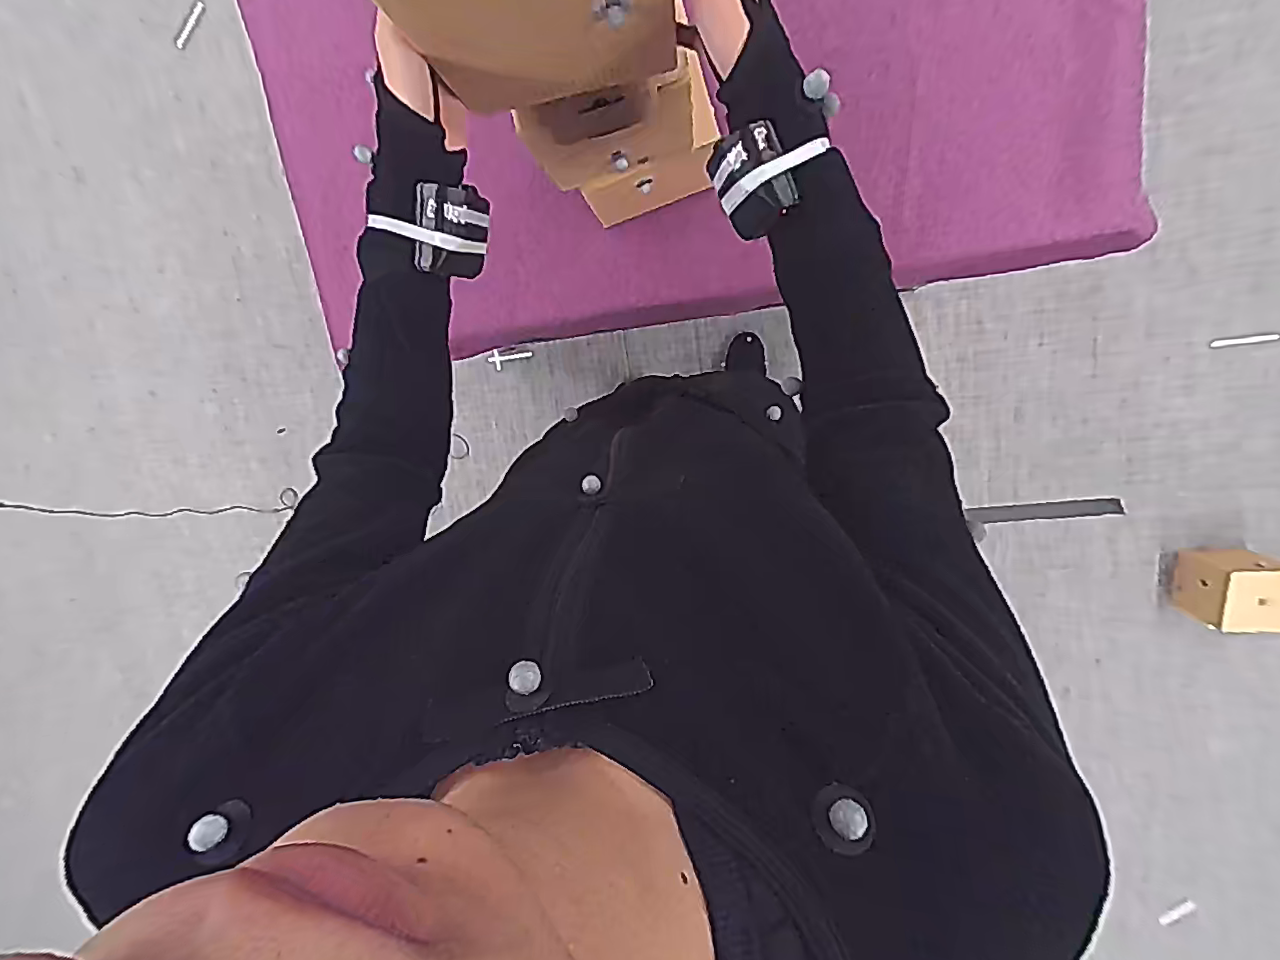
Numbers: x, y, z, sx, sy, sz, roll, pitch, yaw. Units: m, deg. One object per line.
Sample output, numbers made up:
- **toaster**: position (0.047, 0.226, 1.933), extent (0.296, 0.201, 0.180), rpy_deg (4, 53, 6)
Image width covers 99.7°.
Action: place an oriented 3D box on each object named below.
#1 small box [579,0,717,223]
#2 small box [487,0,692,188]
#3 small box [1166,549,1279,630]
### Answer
- **small box**: position (-0.005, -0.463, 0.708), extent (0.179, 0.176, 0.168), rpy_deg (-17, 100, 9)
- **small box**: position (-0.044, -0.433, 0.549), extent (0.168, 0.176, 0.179), rpy_deg (-11, 101, 9)
- **small box**: position (1.579, 0.289, 1.452), extent (0.179, 0.176, 0.168), rpy_deg (-3, 102, 6)
